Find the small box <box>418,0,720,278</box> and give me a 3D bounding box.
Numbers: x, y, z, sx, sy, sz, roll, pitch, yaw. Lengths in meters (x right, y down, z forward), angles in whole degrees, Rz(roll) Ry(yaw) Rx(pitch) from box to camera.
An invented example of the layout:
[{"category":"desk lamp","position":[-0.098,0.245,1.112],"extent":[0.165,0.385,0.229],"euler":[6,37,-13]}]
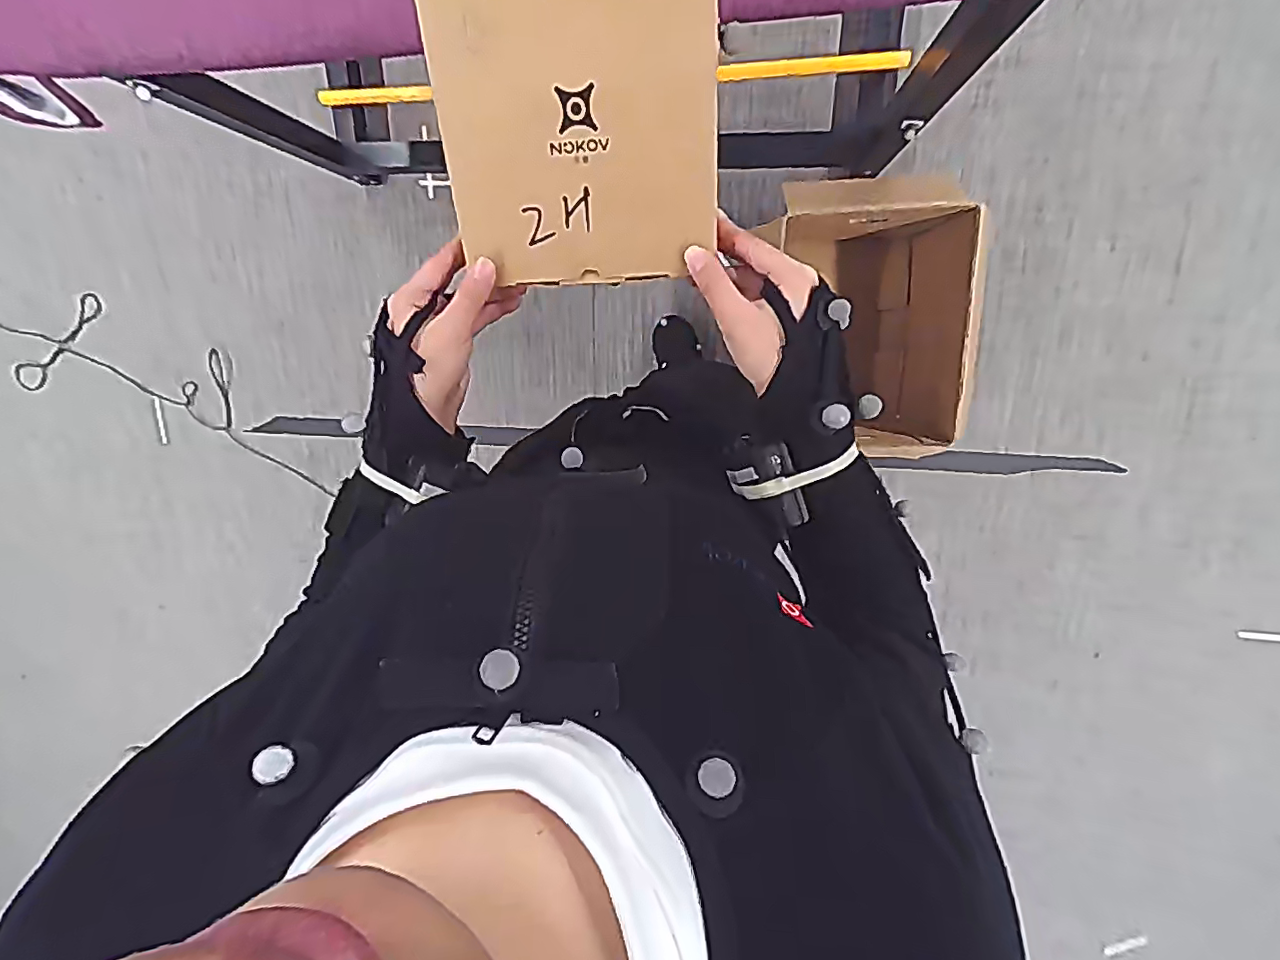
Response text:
[{"category":"small box","position":[-0.030,-0.246,0.383],"extent":[0.168,0.176,0.179],"euler":[0,117,7]}]
